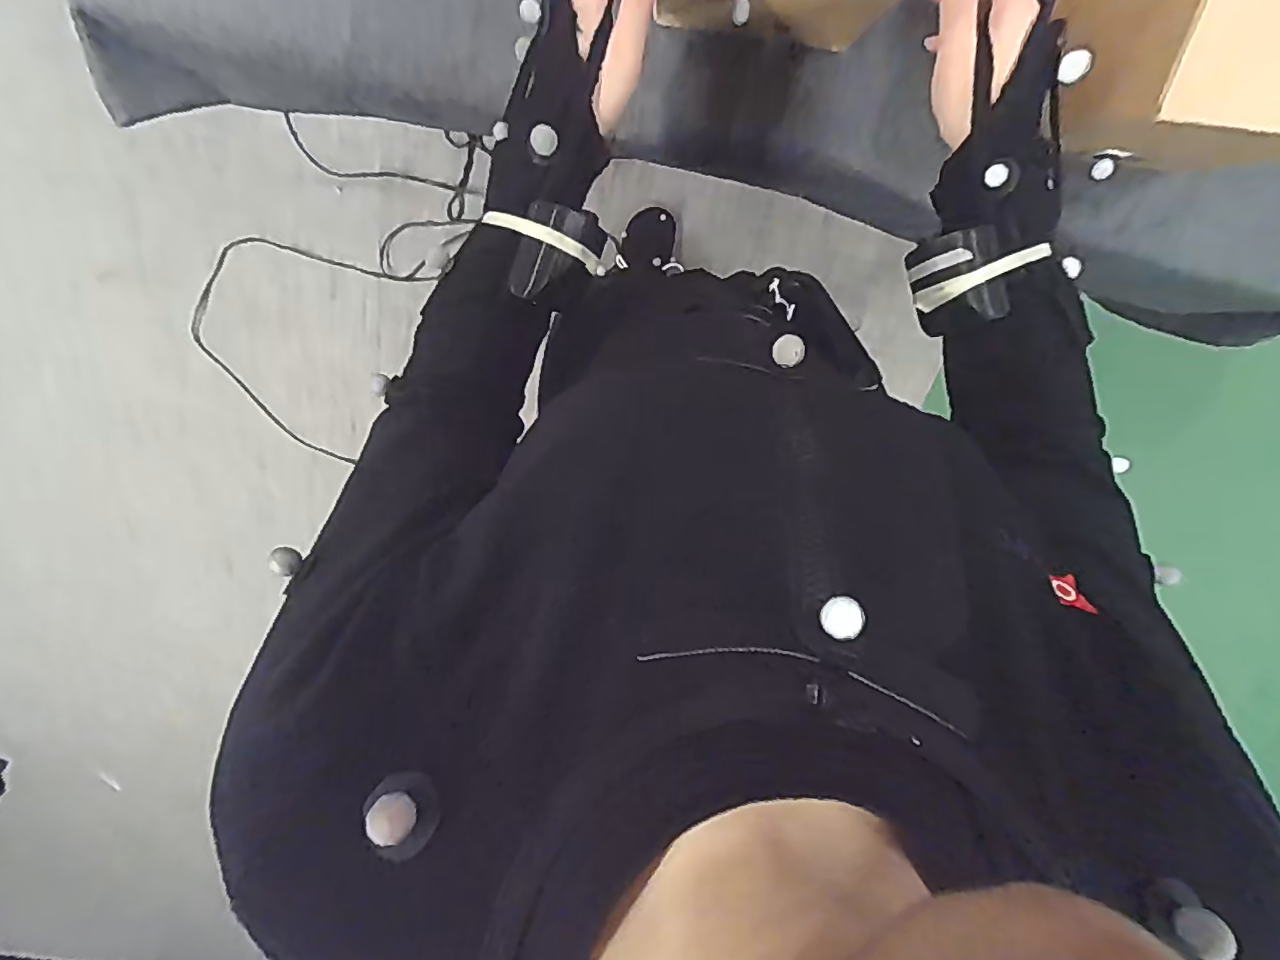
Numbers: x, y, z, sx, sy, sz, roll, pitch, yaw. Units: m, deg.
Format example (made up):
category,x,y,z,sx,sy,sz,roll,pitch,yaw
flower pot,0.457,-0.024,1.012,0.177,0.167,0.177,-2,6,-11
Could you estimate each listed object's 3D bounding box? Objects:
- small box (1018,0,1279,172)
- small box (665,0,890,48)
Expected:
category,x,y,z,sx,sy,sz,roll,pitch,yaw
small box,0.418,-0.333,0.382,0.168,0.176,0.179,6,116,-1
small box,0.104,-0.413,0.347,0.168,0.176,0.179,7,115,-3
